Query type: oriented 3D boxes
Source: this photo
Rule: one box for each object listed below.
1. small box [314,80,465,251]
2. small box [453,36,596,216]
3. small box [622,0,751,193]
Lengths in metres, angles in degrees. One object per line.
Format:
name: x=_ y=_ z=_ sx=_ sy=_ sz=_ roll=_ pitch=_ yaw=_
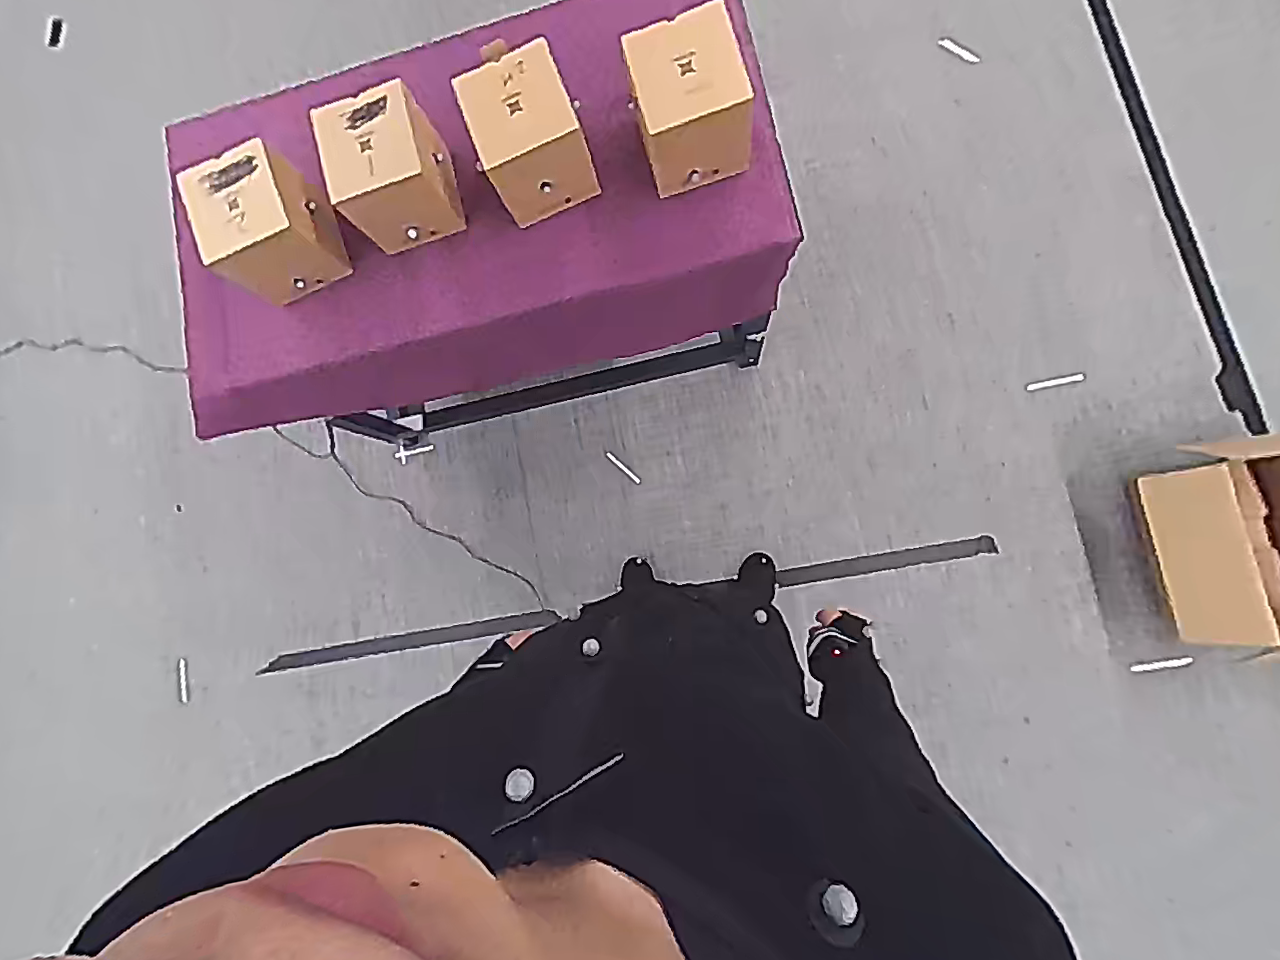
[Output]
small box: x=-0.438 y=-0.549 z=0.965 sx=0.168 sy=0.176 sz=0.179 roll=-16 pitch=83 yaw=6
small box: x=-0.189 y=-0.592 z=0.935 sx=0.168 sy=0.176 sz=0.179 roll=-22 pitch=81 yaw=5
small box: x=0.079 y=-0.628 z=0.903 sx=0.168 sy=0.176 sz=0.179 roll=-16 pitch=82 yaw=7
